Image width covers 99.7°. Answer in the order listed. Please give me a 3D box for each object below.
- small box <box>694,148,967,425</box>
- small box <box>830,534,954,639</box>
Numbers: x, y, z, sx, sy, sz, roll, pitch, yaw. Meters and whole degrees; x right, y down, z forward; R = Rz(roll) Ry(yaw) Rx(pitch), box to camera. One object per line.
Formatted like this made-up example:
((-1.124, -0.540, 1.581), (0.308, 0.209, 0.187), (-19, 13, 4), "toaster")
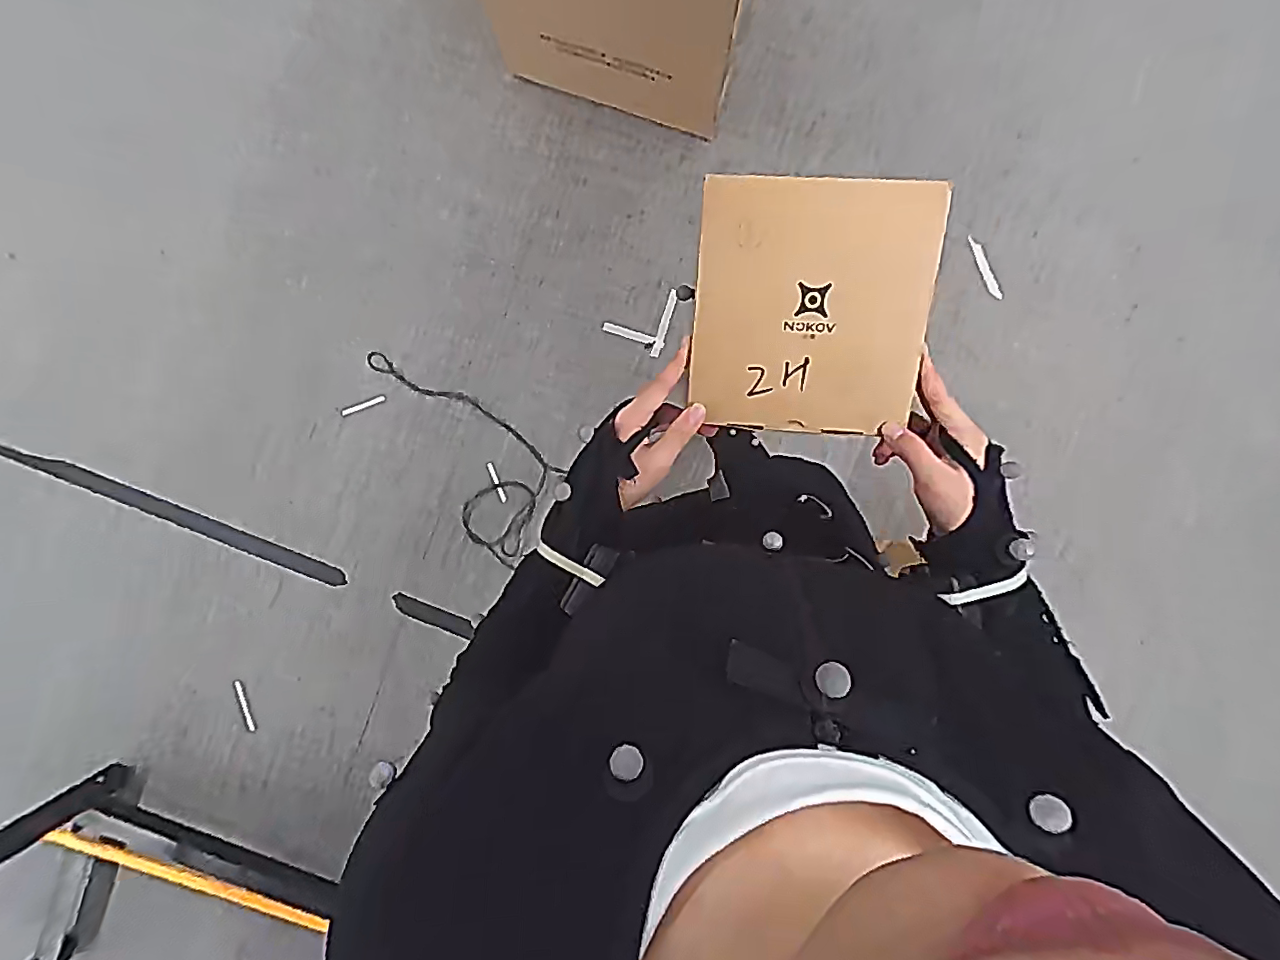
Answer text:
((0.134, -0.151, 0.452), (0.168, 0.176, 0.179), (5, 106, 5), "small box")
((0.580, 0.238, 1.269), (0.179, 0.176, 0.168), (28, 92, 2), "small box")
